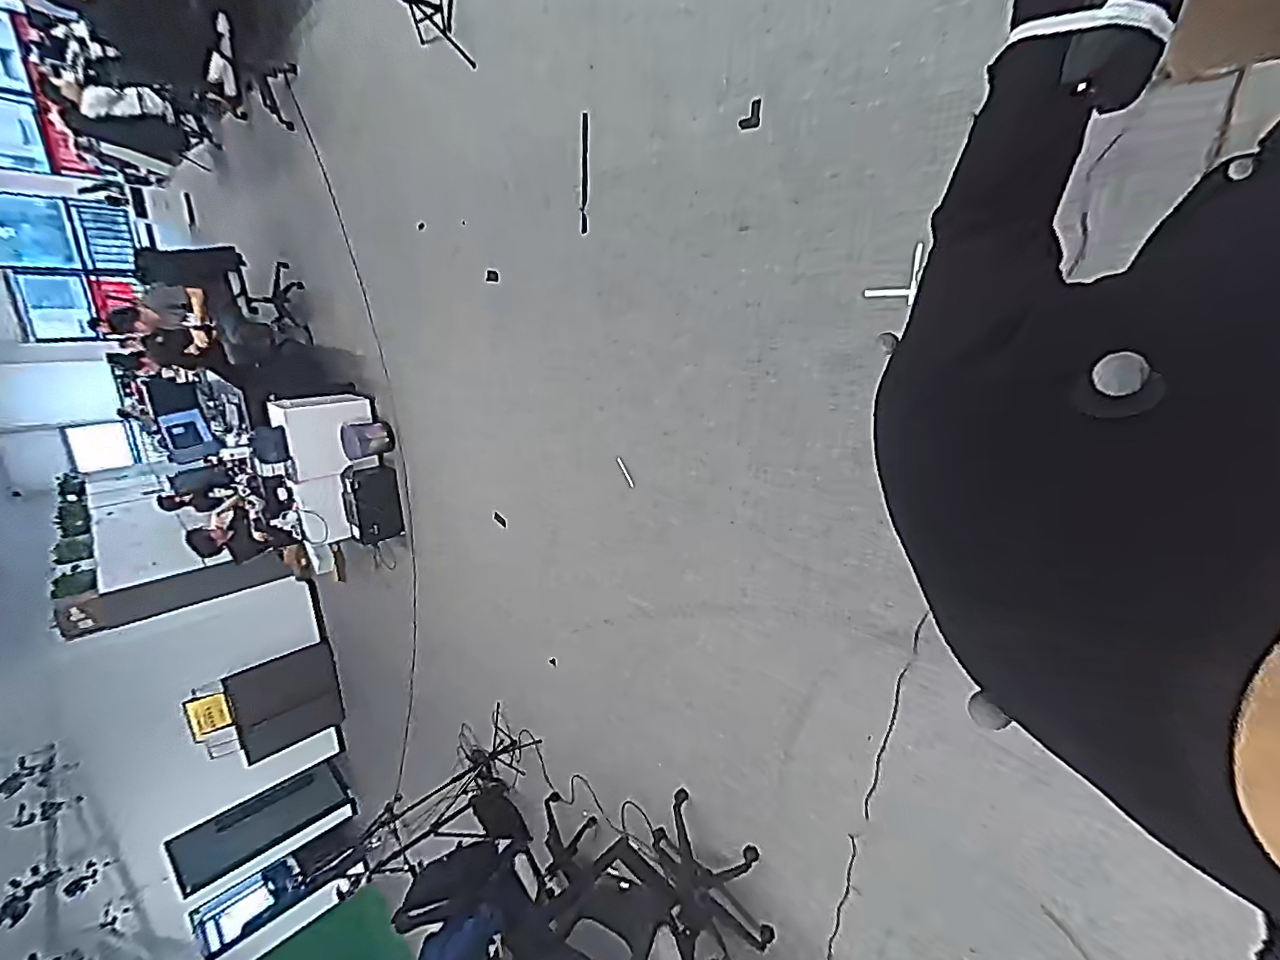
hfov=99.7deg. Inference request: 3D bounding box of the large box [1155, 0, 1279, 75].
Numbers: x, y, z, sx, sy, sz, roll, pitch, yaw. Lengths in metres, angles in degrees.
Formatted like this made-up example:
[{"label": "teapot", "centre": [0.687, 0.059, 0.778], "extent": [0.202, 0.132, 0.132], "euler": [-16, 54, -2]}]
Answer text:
[{"label": "large box", "centre": [0.576, -0.468, 0.274], "extent": [0.408, 0.320, 0.320], "euler": [20, 120, 41]}]
